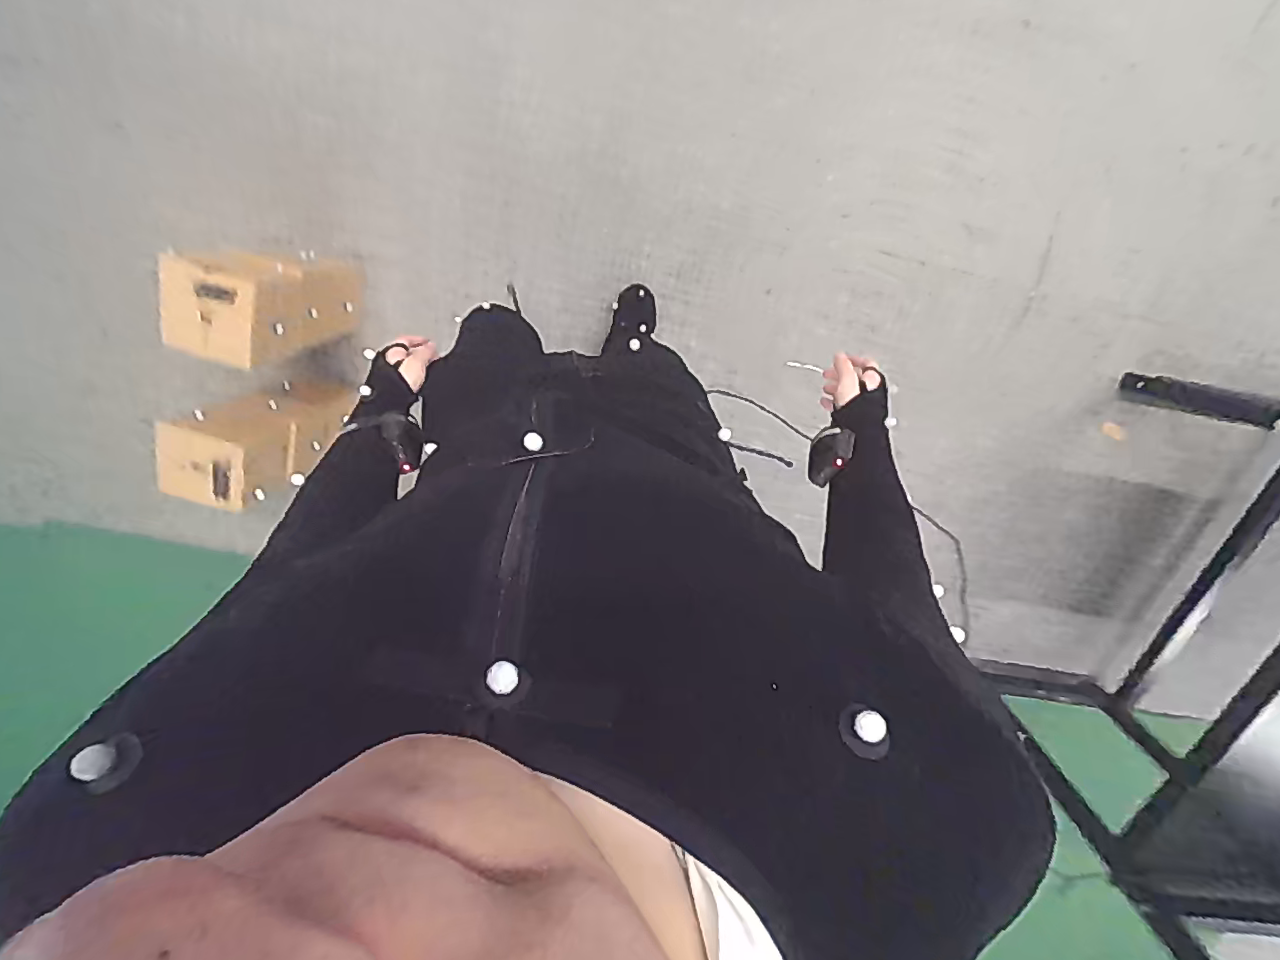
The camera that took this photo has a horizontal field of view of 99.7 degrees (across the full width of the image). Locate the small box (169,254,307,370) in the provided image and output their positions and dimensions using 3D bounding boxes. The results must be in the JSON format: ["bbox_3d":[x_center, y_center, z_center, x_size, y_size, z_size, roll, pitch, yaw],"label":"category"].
[{"bbox_3d":[-0.811,-0.348,1.104,0.168,0.176,0.179,17,113,-8],"label":"small box"}]

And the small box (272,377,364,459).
[{"bbox_3d":[-0.909,-0.181,1.532,0.179,0.176,0.168,16,112,-6],"label":"small box"}]

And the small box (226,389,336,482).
[{"bbox_3d":[-0.907,-0.120,1.379,0.179,0.176,0.168,17,111,-6],"label":"small box"}]

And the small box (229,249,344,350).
[{"bbox_3d":[-0.810,-0.421,1.251,0.168,0.176,0.179,15,112,-7],"label":"small box"}]
